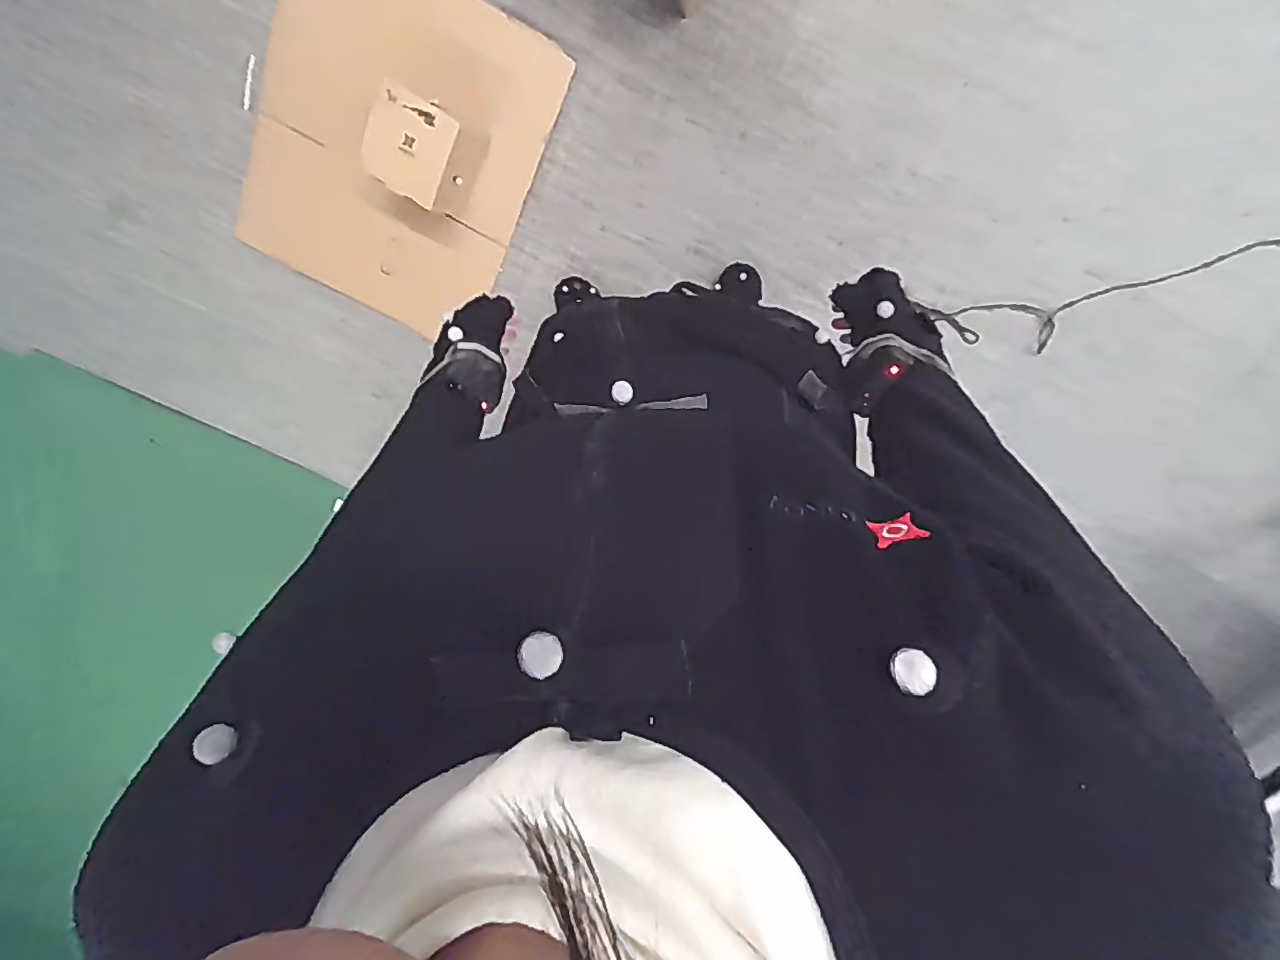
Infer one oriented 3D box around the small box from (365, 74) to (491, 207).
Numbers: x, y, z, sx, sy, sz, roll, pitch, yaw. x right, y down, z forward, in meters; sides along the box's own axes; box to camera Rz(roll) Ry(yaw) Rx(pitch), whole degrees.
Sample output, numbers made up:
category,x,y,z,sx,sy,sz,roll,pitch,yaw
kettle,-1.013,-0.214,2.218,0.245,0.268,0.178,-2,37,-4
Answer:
category,x,y,z,sx,sy,sz,roll,pitch,yaw
small box,-0.436,-0.694,1.133,0.168,0.176,0.179,28,115,-4
